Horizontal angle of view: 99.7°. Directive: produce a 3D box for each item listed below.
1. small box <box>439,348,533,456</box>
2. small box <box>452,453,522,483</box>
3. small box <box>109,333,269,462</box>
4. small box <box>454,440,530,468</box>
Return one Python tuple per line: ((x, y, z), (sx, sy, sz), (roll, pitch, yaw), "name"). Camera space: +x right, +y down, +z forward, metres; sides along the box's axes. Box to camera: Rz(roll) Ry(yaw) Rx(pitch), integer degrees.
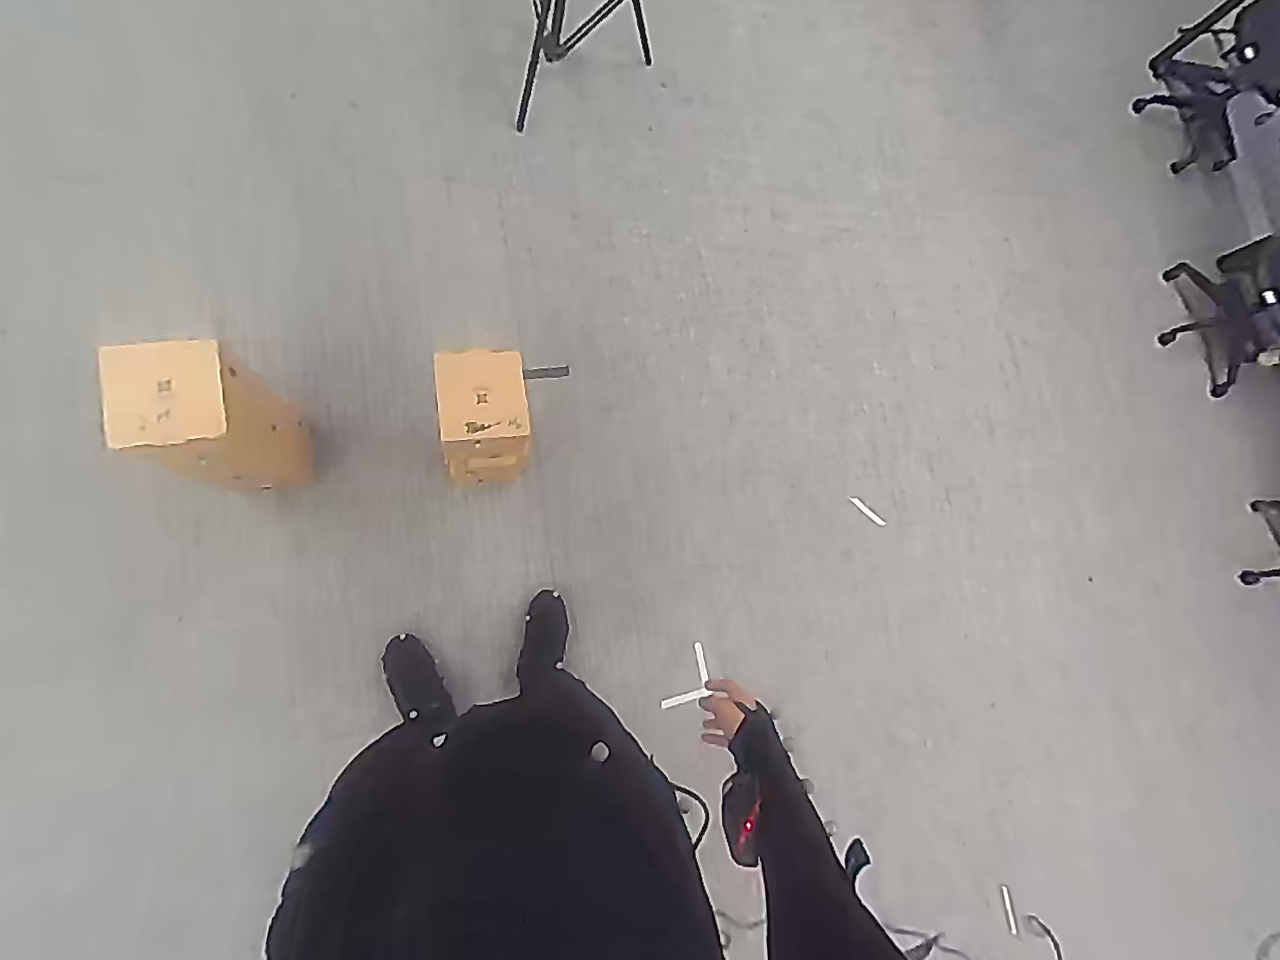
((-0.320, -0.156, 1.110), (0.168, 0.176, 0.179), (-5, 80, -18), "small box")
((-0.408, -0.095, 1.421), (0.168, 0.176, 0.179), (-5, 81, -18), "small box")
((-0.791, -0.142, 0.964), (0.168, 0.176, 0.179), (-9, 83, -17), "small box")
((-0.354, -0.126, 1.270), (0.168, 0.176, 0.179), (-5, 81, -19), "small box")
